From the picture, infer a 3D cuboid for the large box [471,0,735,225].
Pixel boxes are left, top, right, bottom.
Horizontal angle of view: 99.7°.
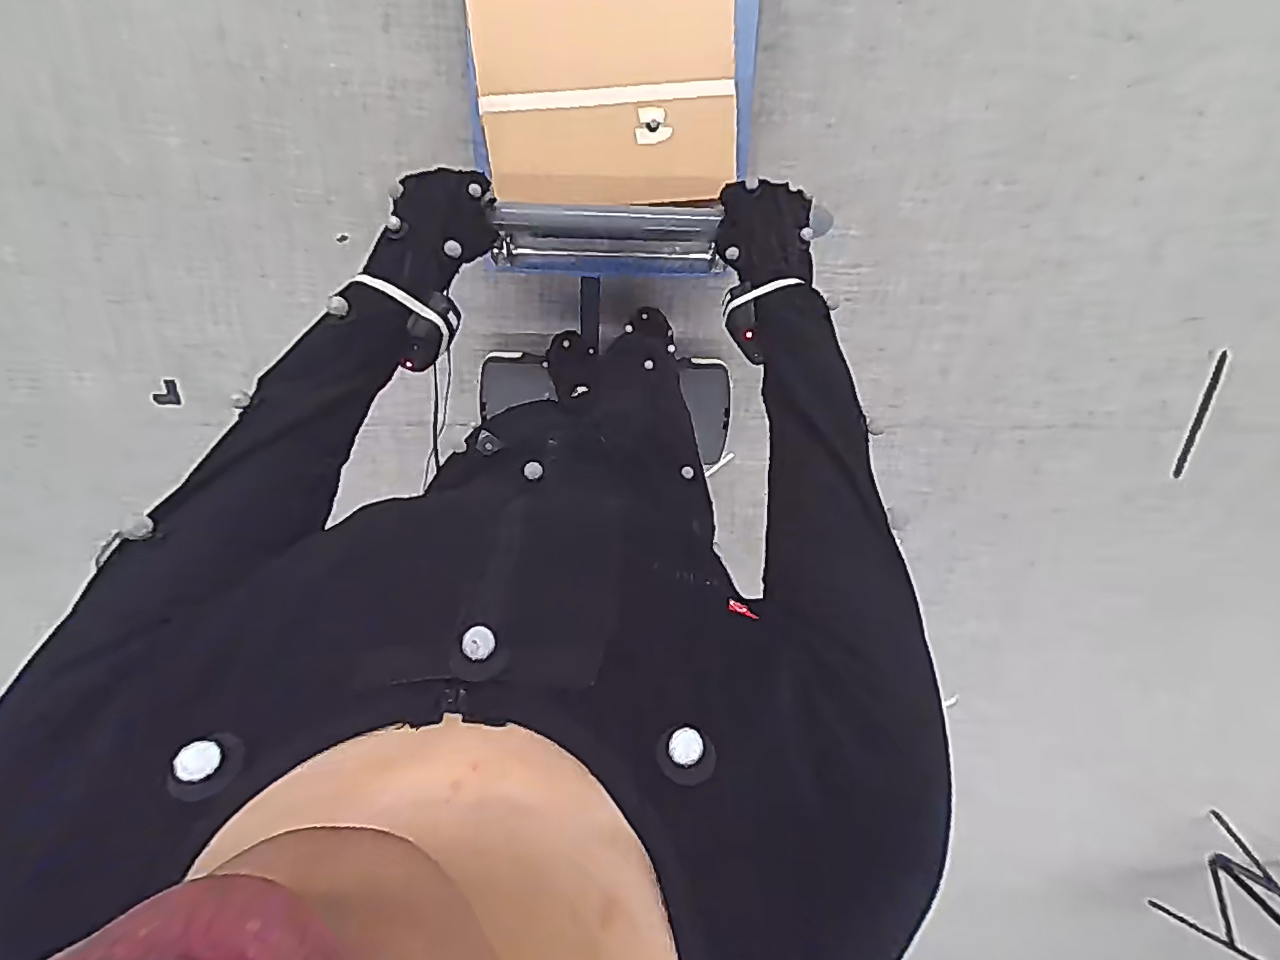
[{"bbox_3d":[-0.058,-0.673,1.006,0.408,0.320,0.320,-6,112,-2],"label":"large box"}]
